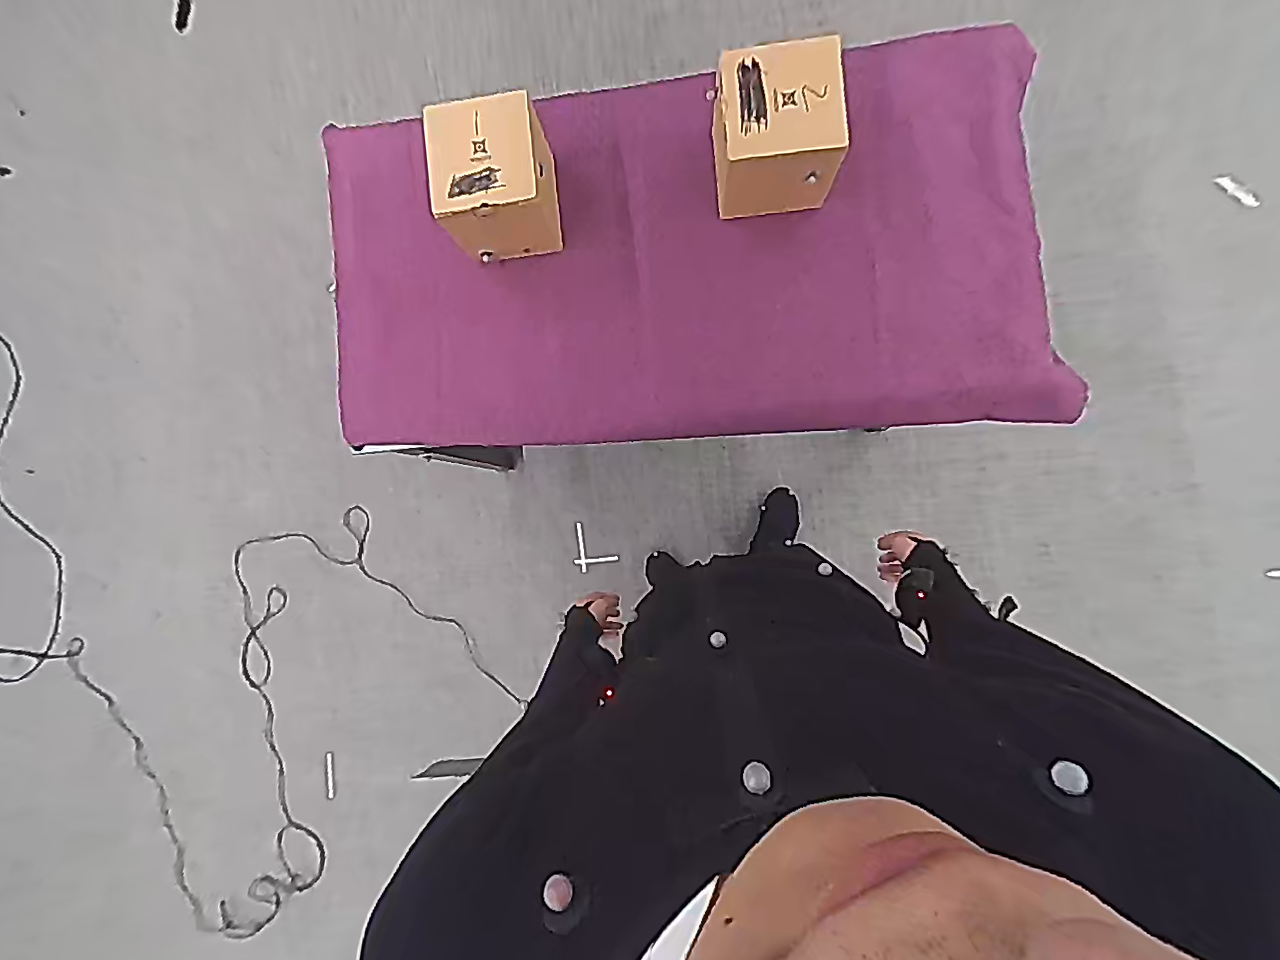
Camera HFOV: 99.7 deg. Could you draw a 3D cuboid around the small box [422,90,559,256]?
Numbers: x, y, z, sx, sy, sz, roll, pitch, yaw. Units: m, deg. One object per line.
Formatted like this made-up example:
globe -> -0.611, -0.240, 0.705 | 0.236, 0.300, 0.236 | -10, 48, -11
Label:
small box -> -0.238, -0.491, 0.897 | 0.168, 0.176, 0.179 | -7, 87, 4
